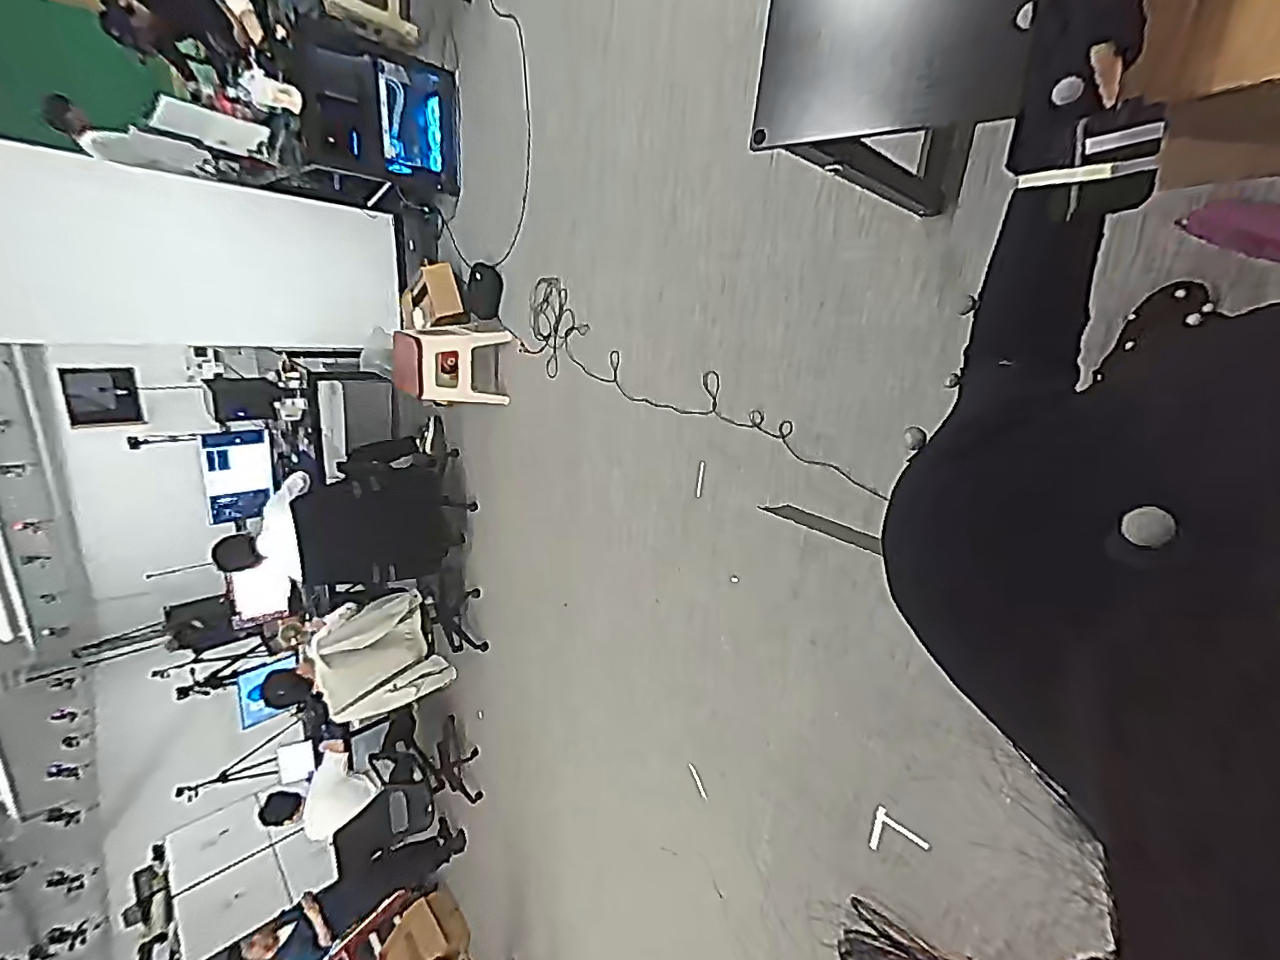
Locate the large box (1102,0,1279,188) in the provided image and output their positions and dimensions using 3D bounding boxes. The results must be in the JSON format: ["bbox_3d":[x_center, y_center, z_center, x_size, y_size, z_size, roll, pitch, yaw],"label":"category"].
[{"bbox_3d":[0.559,-0.399,0.305,0.408,0.320,0.320,14,110,43],"label":"large box"}]
